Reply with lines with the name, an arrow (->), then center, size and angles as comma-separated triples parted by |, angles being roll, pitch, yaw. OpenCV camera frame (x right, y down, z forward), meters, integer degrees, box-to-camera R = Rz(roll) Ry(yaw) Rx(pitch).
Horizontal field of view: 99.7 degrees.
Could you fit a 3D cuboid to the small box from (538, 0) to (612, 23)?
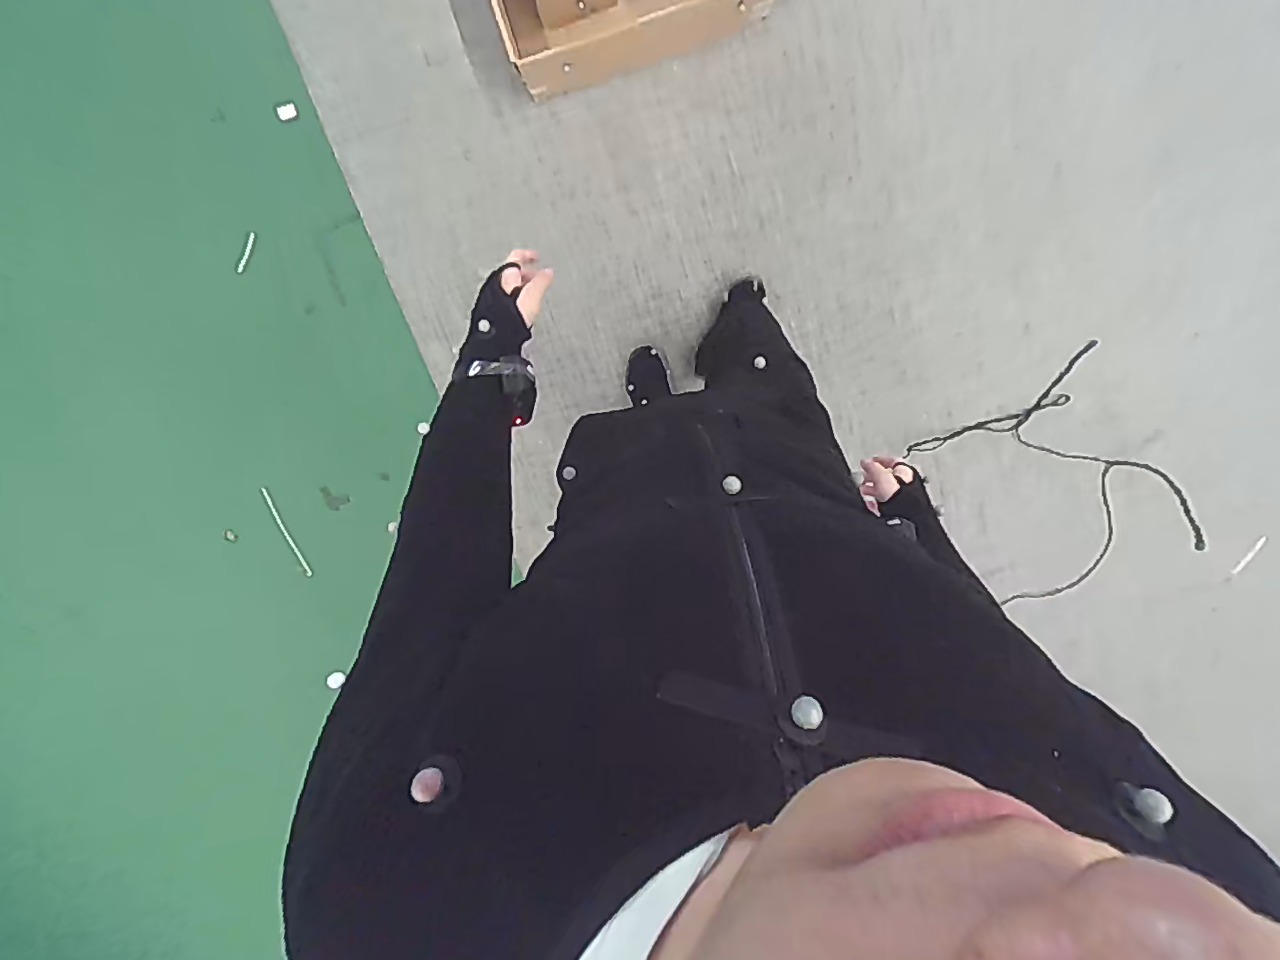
small box -> -0.161, -1.122, 1.149 | 0.168, 0.176, 0.179 | -17, 106, 4
